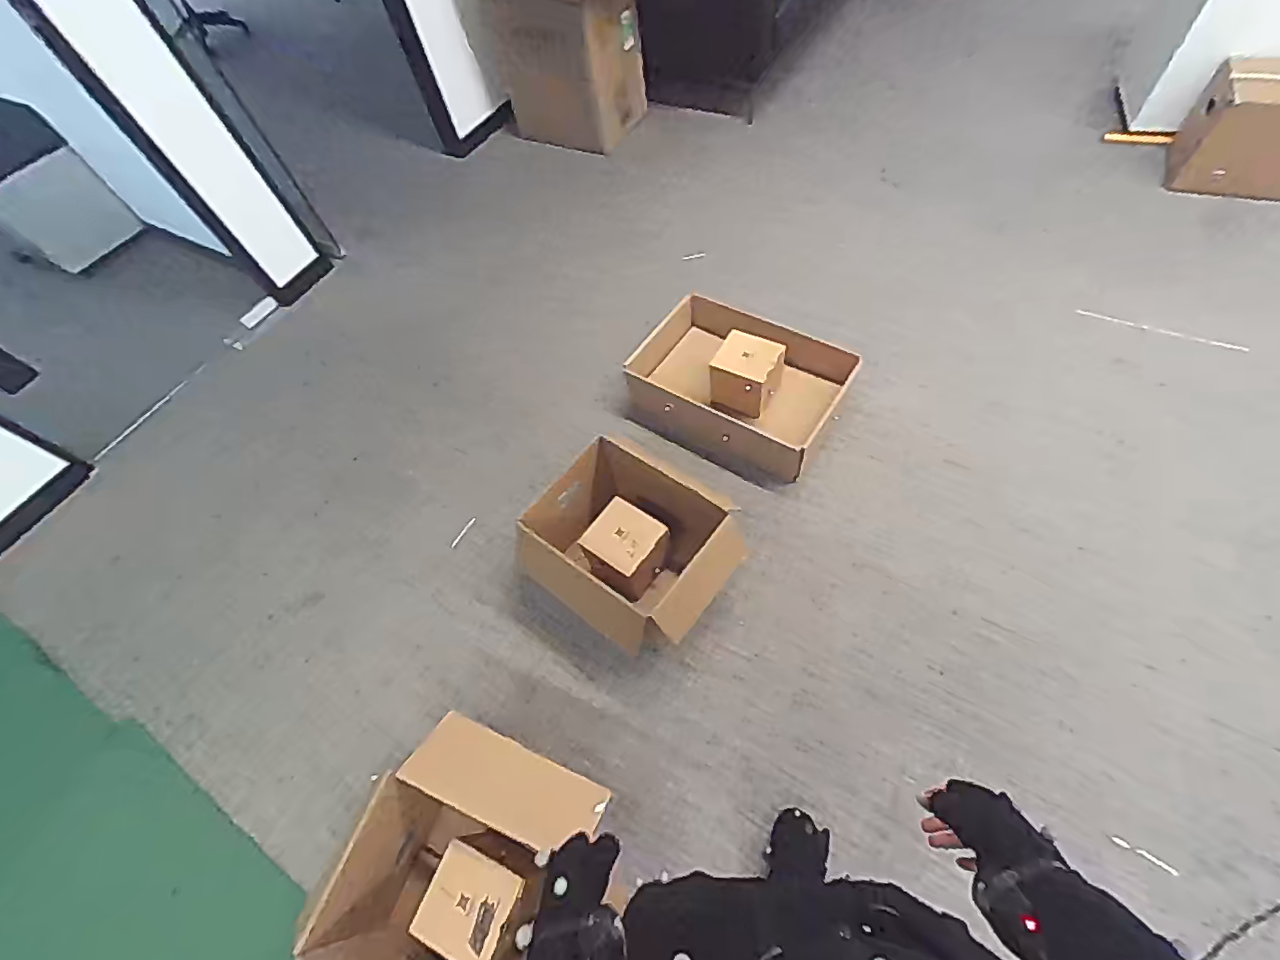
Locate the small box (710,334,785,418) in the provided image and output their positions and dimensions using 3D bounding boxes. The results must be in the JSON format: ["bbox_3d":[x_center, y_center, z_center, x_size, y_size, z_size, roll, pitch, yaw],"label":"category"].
[{"bbox_3d":[0.330,-0.318,1.679,0.179,0.176,0.168,24,65,21],"label":"small box"}]
